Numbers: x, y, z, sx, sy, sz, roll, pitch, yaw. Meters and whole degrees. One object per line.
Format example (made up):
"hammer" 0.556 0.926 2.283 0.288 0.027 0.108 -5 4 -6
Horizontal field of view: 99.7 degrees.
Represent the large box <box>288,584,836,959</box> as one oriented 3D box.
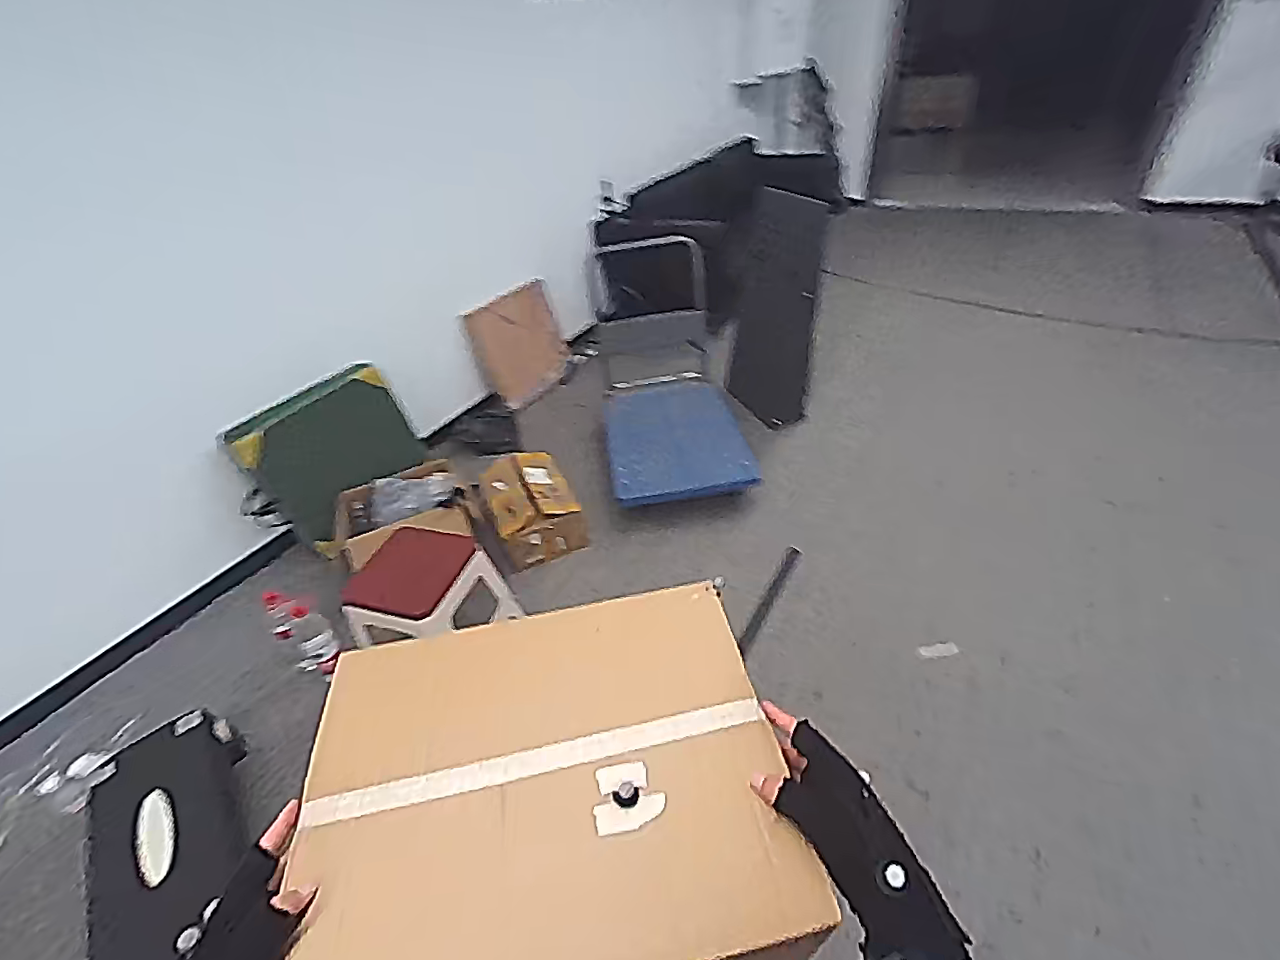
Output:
"large box" -0.070 0.358 0.580 0.408 0.320 0.320 -8 42 -6
